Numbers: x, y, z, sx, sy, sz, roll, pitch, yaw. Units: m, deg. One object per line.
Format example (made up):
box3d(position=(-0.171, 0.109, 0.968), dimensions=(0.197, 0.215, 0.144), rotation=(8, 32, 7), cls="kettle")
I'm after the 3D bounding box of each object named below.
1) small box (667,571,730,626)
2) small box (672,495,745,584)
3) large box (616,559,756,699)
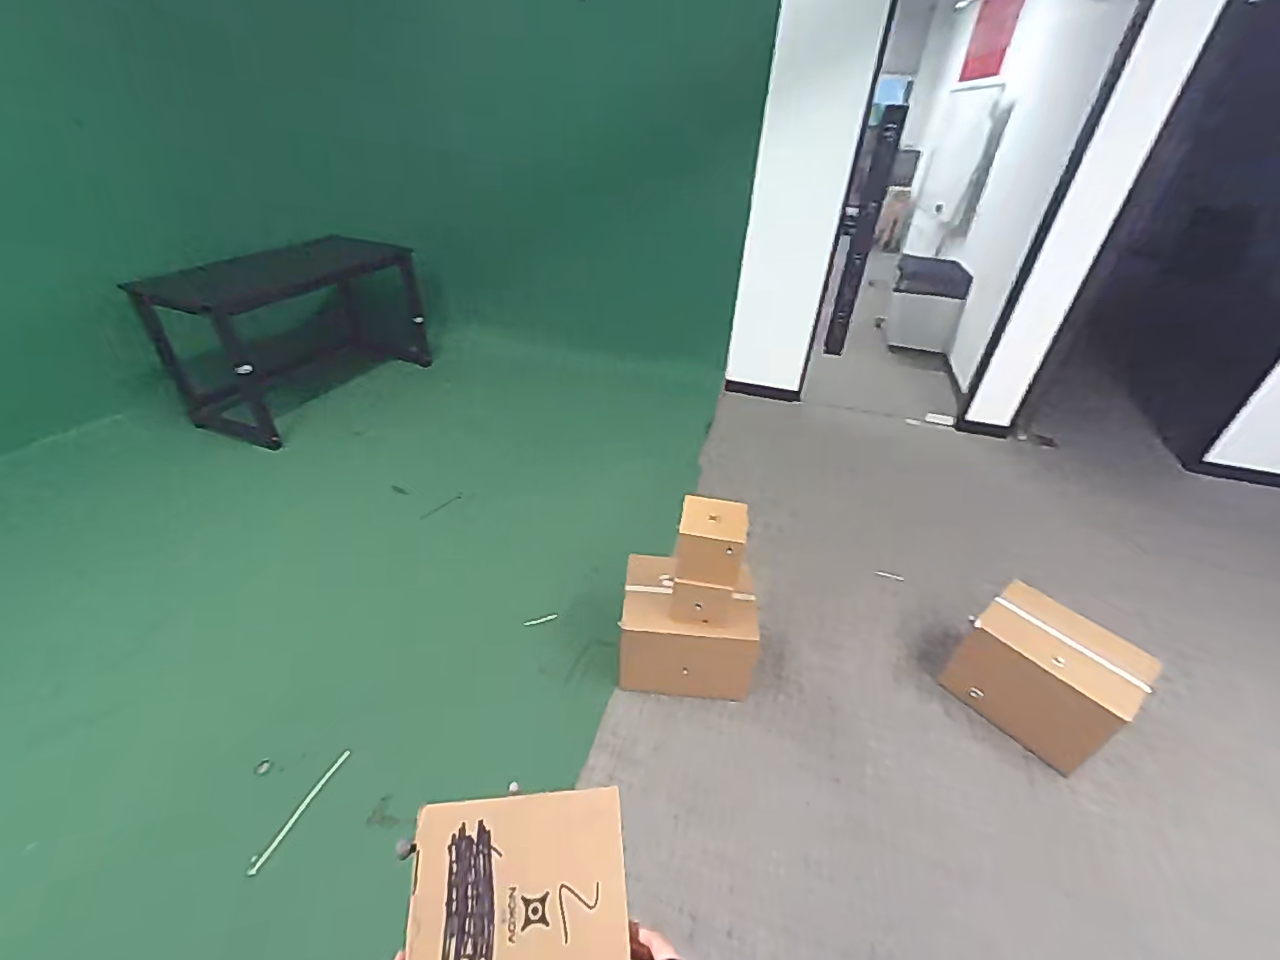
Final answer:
box3d(position=(0.172, 0.299, 1.577), dimensions=(0.168, 0.176, 0.179), rotation=(8, 36, 5), cls="small box")
box3d(position=(0.187, 0.165, 1.487), dimensions=(0.179, 0.176, 0.168), rotation=(9, 36, 6), cls="small box")
box3d(position=(0.135, 0.478, 1.746), dimensions=(0.408, 0.320, 0.320), rotation=(3, 35, 1), cls="large box")
